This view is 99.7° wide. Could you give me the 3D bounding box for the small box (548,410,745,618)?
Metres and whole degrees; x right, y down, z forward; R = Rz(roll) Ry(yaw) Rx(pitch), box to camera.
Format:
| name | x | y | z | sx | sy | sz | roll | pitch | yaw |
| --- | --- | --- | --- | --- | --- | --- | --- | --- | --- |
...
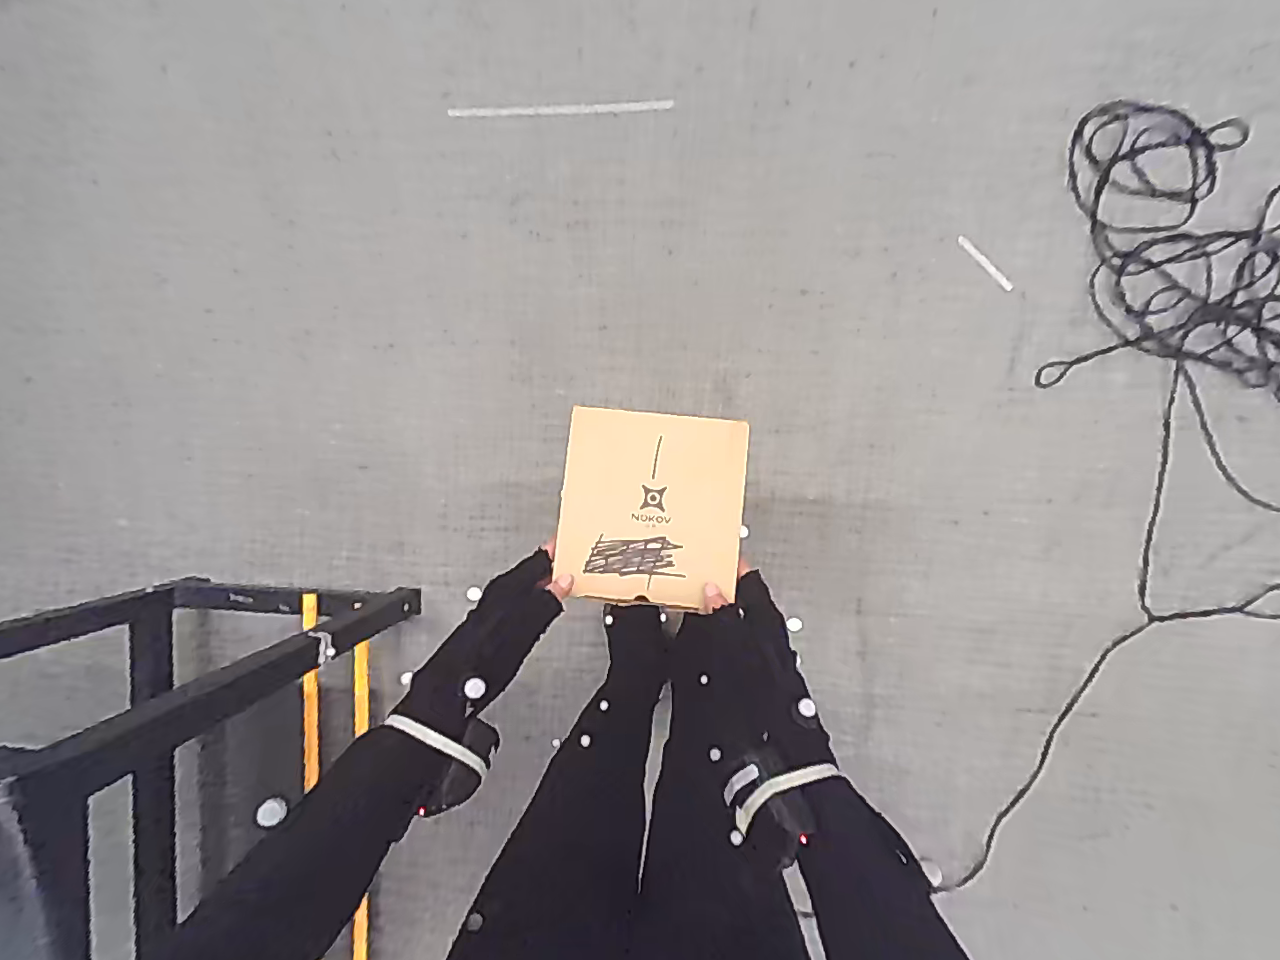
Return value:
| name | x | y | z | sx | sy | sz | roll | pitch | yaw |
| --- | --- | --- | --- | --- | --- | --- | --- | --- | --- |
| small box | 0.011 | 0.036 | 0.570 | 0.168 | 0.176 | 0.179 | 6 | 84 | 3 |
